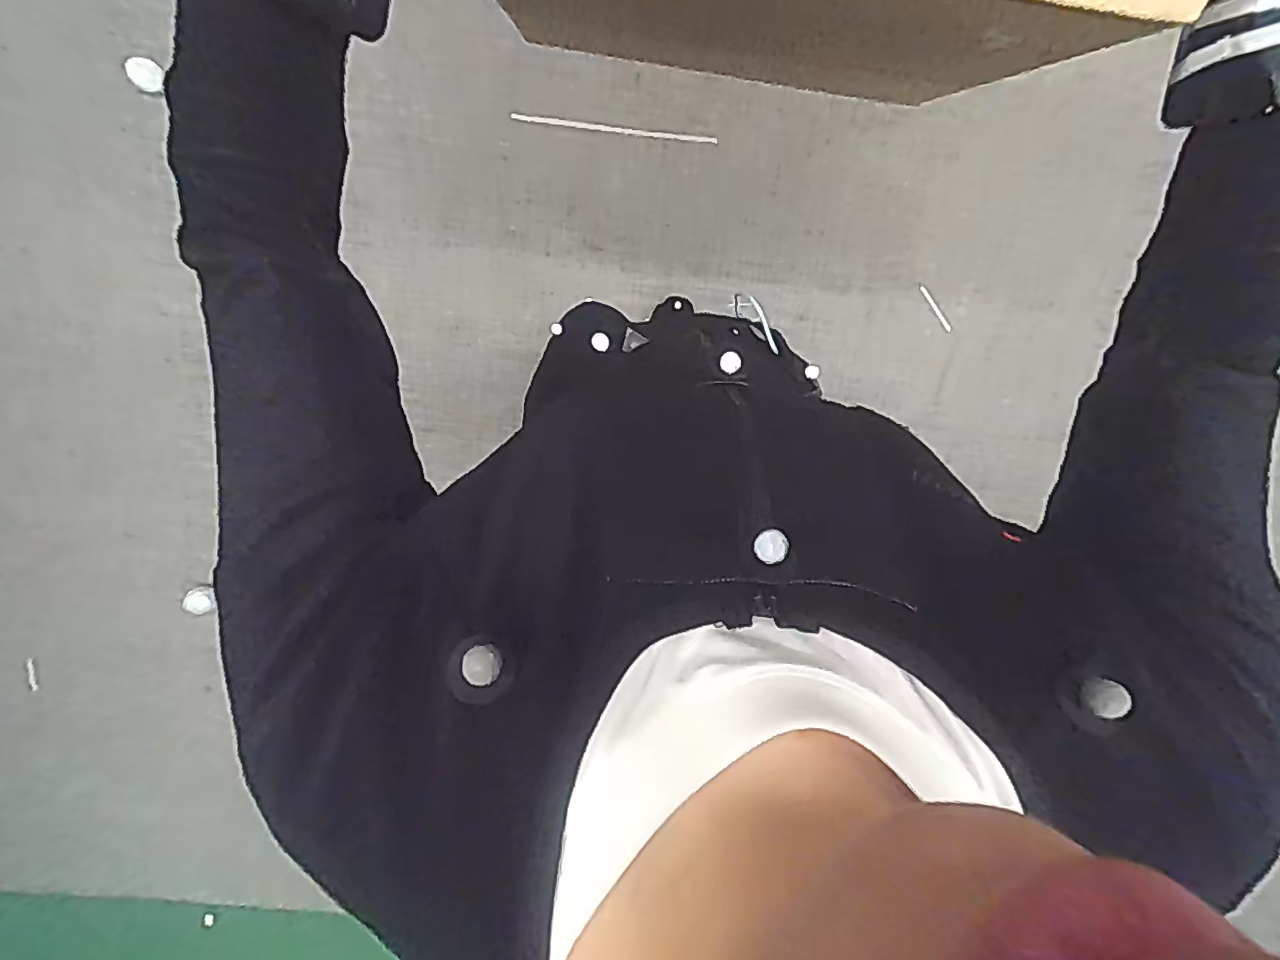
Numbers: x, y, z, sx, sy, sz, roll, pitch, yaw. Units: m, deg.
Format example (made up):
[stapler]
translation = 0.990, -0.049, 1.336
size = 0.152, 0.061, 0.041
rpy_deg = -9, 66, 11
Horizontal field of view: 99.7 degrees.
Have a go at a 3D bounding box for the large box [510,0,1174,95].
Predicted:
[large box]
translation = 0.108, -0.476, 0.341
size = 0.408, 0.320, 0.320
rpy_deg = 5, 118, -5
